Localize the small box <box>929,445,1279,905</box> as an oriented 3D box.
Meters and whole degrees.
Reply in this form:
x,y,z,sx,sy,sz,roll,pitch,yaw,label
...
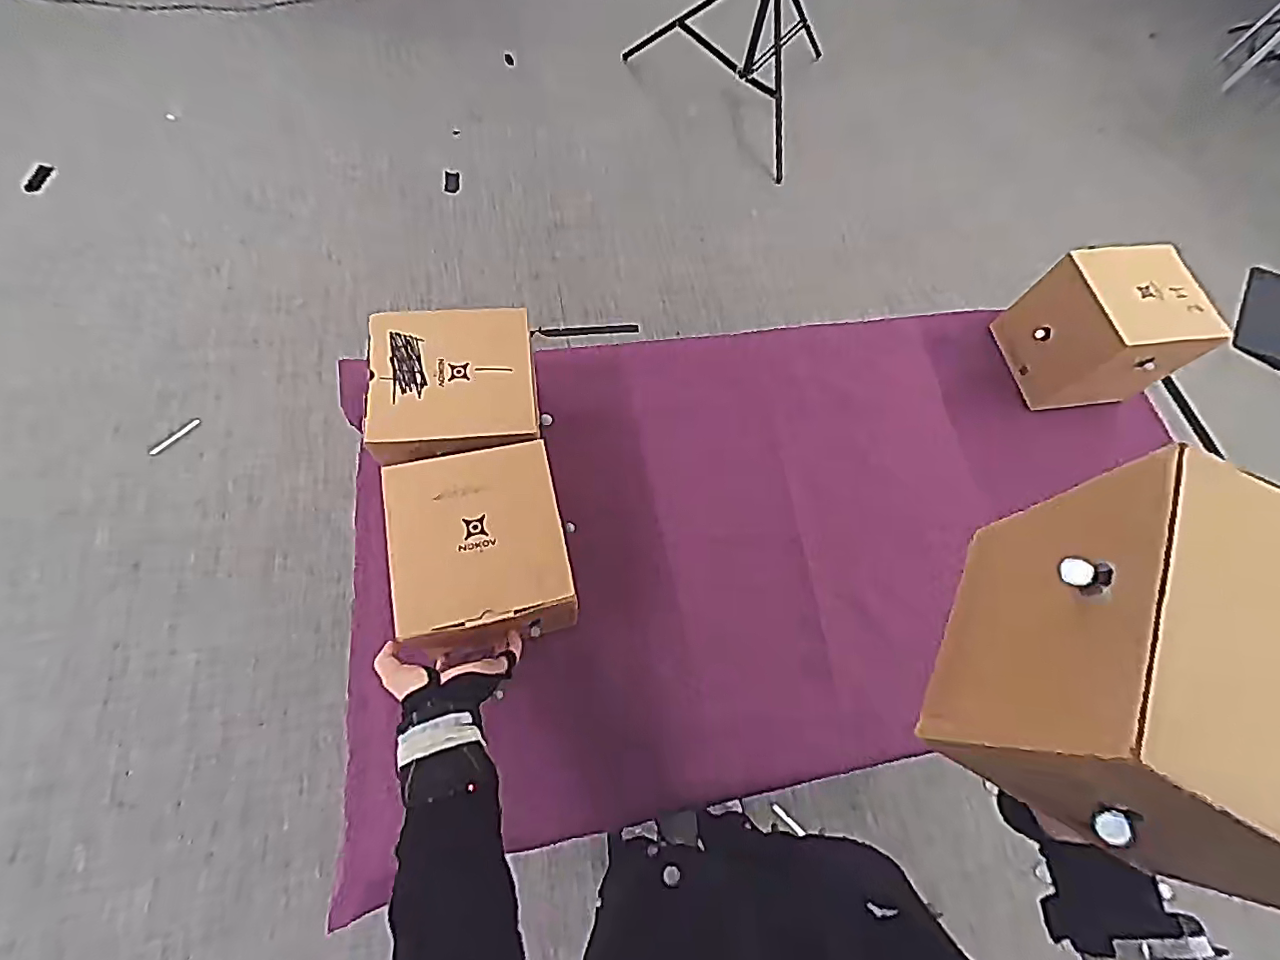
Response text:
x,y,z,sx,sy,sz,roll,pitch,yaw,label
0.306,0.118,0.318,0.168,0.176,0.179,29,67,7,small box

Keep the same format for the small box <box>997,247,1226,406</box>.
x,y,z,sx,sy,sz,roll,pitch,yaw,label
0.686,-0.224,0.818,0.179,0.176,0.168,-6,69,-9,small box

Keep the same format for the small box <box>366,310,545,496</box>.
x,y,z,sx,sy,sz,roll,pitch,yaw,label
-0.214,-0.087,0.665,0.179,0.176,0.168,-5,69,-9,small box
